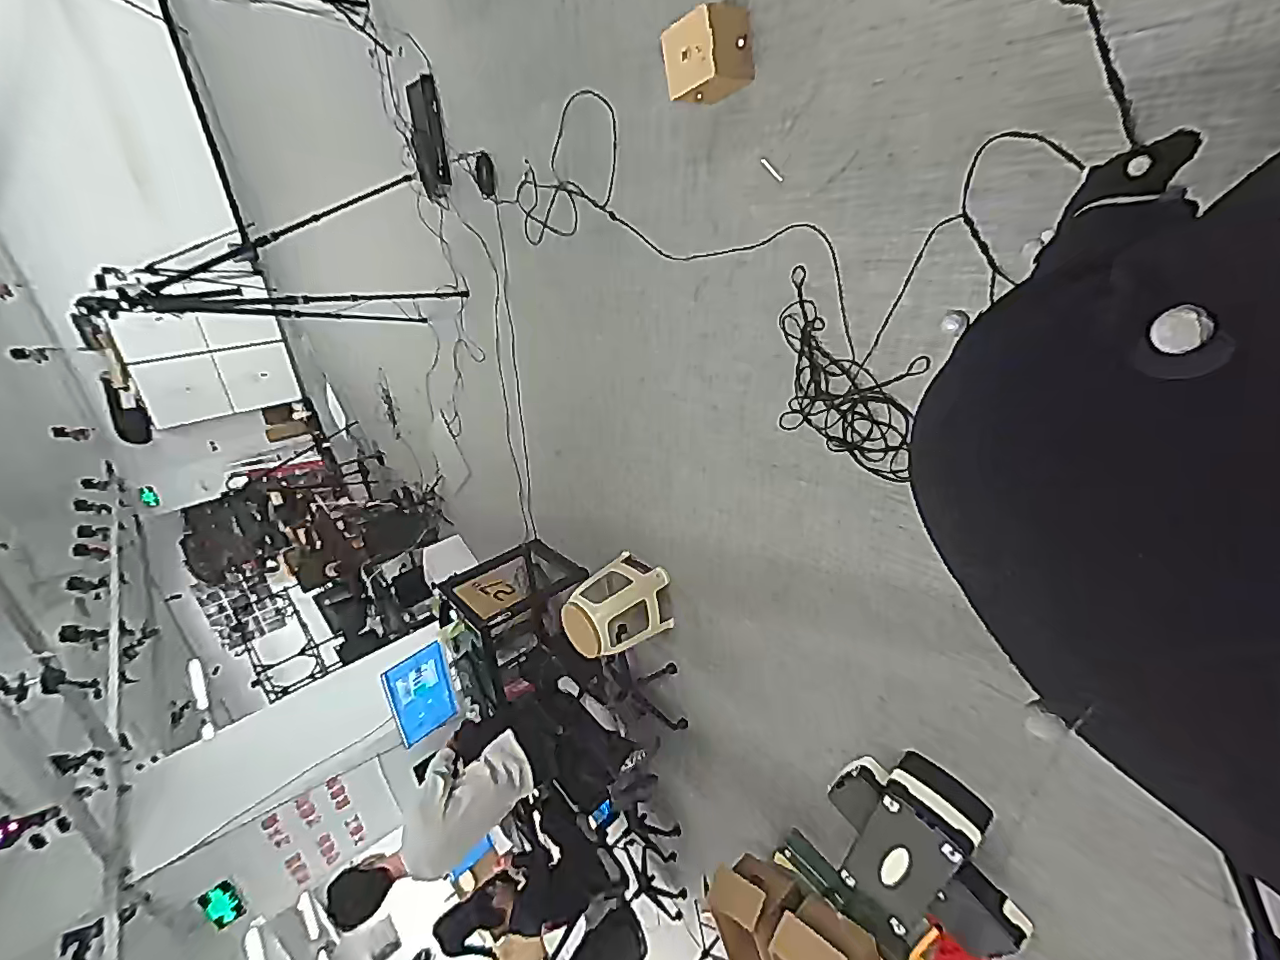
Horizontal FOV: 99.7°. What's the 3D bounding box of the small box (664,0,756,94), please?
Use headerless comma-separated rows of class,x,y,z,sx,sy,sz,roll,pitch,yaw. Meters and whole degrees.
small box,0.194,-1.192,1.491,0.179,0.176,0.168,11,120,49
